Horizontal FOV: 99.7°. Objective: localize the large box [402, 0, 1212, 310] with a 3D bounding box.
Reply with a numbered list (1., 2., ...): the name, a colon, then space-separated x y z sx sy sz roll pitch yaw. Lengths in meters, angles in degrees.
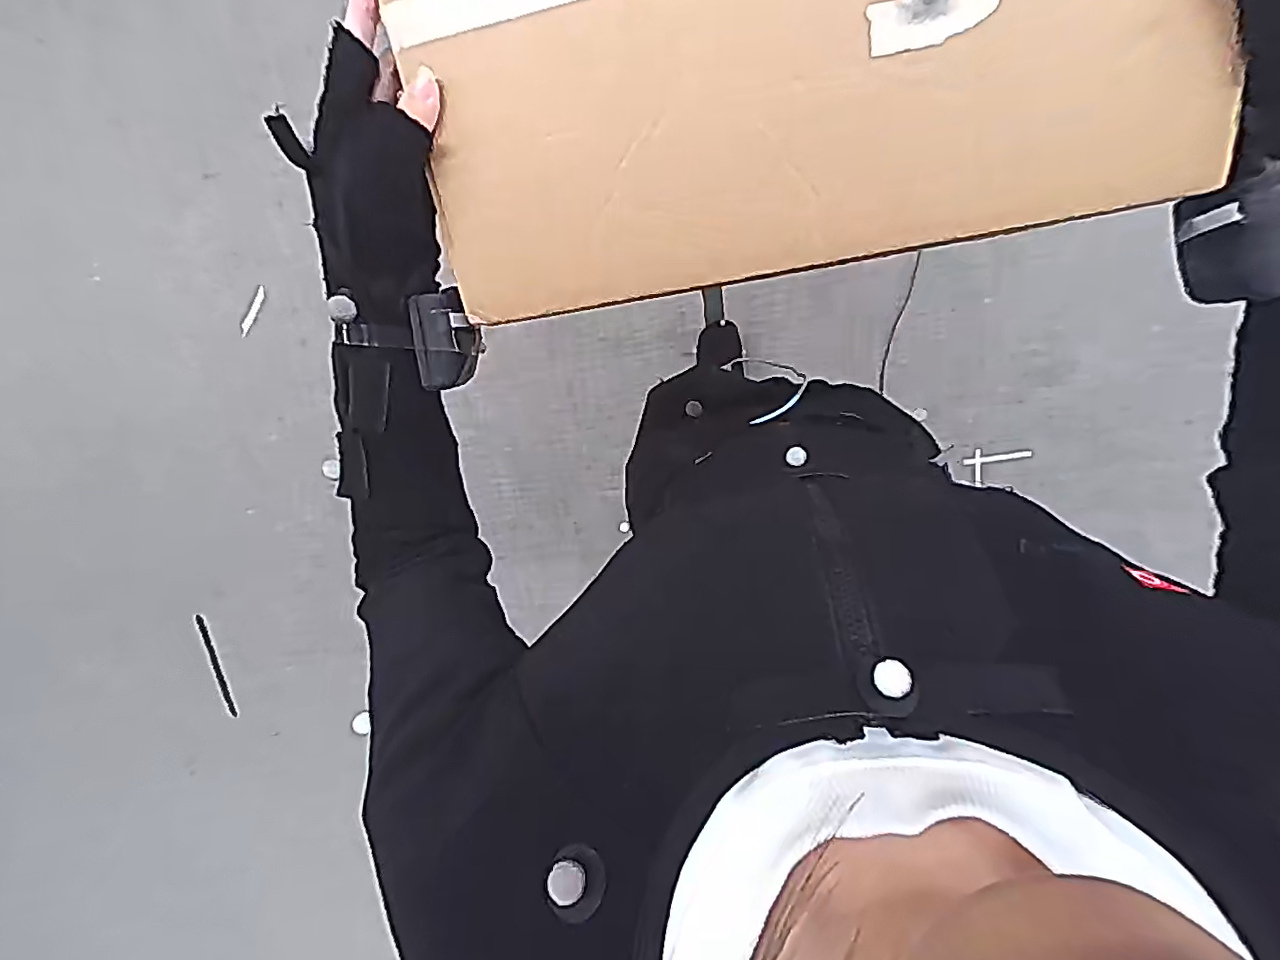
1. large box: 0.079 -0.328 0.405 0.408 0.320 0.320 -8 110 9
